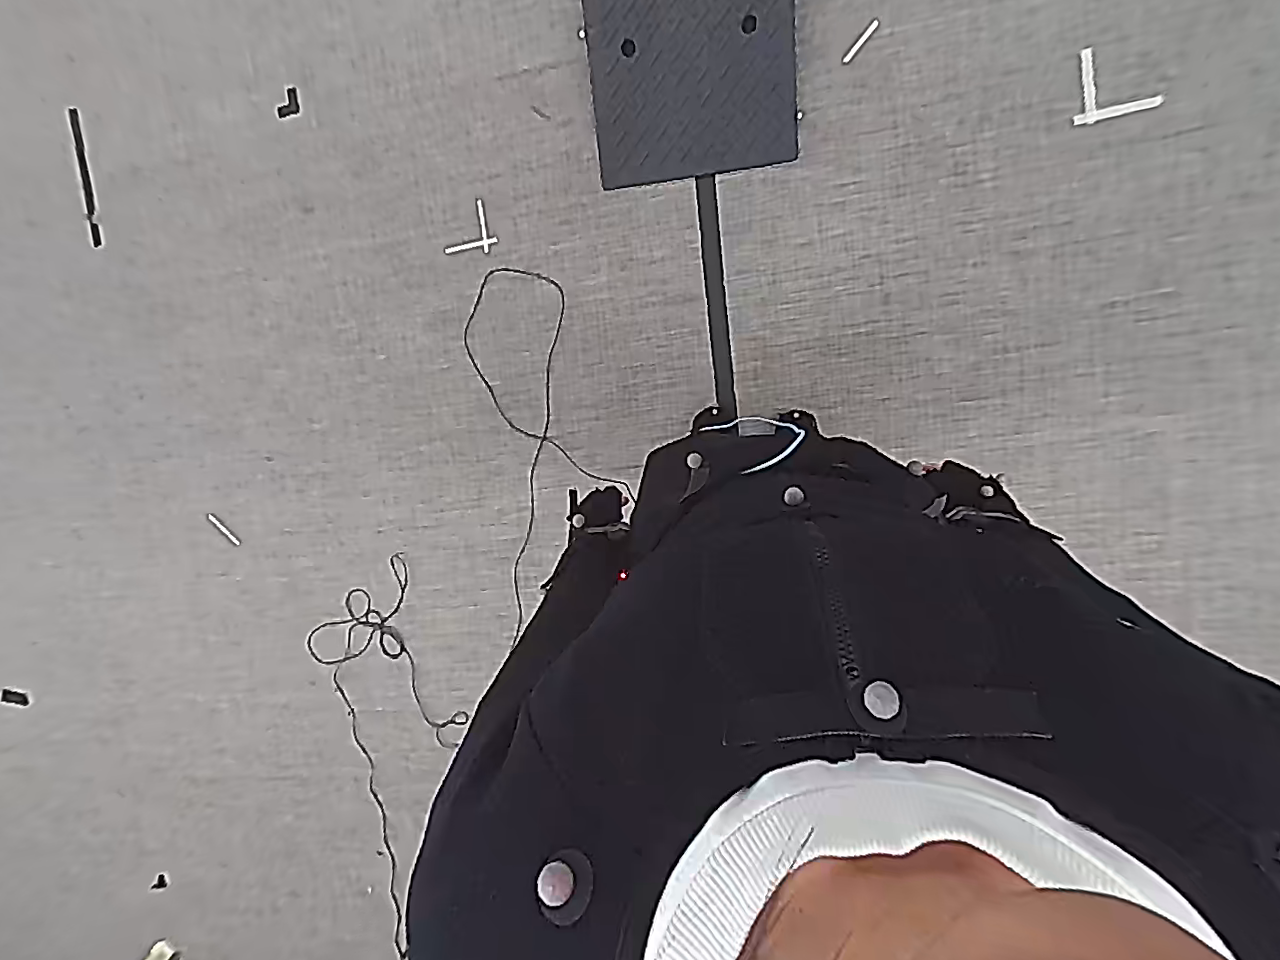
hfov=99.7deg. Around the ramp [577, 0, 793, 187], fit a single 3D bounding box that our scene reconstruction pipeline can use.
[{"bbox_3d":[0.082,-1.247,1.218,0.509,0.206,0.991,-6,97,9],"label":"ramp"}]
